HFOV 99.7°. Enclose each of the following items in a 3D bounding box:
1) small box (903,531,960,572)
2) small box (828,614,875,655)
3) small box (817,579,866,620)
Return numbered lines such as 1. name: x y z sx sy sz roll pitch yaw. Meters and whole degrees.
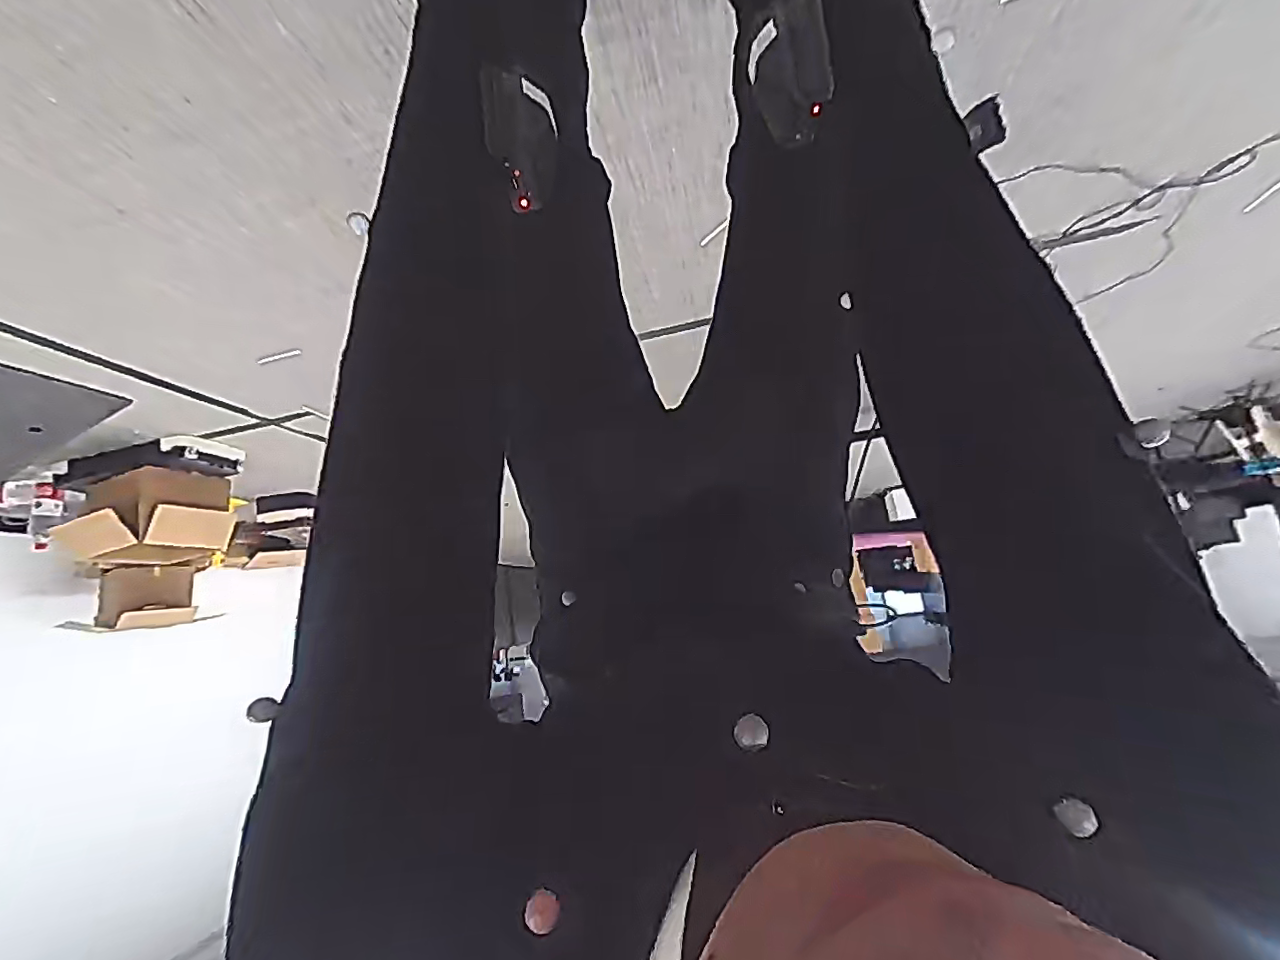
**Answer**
1. small box: 1.379 0.341 2.566 0.179 0.176 0.168 -9 168 7
2. small box: 0.999 0.731 2.568 0.179 0.176 0.168 -10 168 12
3. small box: 0.969 0.575 2.609 0.179 0.176 0.168 -11 167 12
